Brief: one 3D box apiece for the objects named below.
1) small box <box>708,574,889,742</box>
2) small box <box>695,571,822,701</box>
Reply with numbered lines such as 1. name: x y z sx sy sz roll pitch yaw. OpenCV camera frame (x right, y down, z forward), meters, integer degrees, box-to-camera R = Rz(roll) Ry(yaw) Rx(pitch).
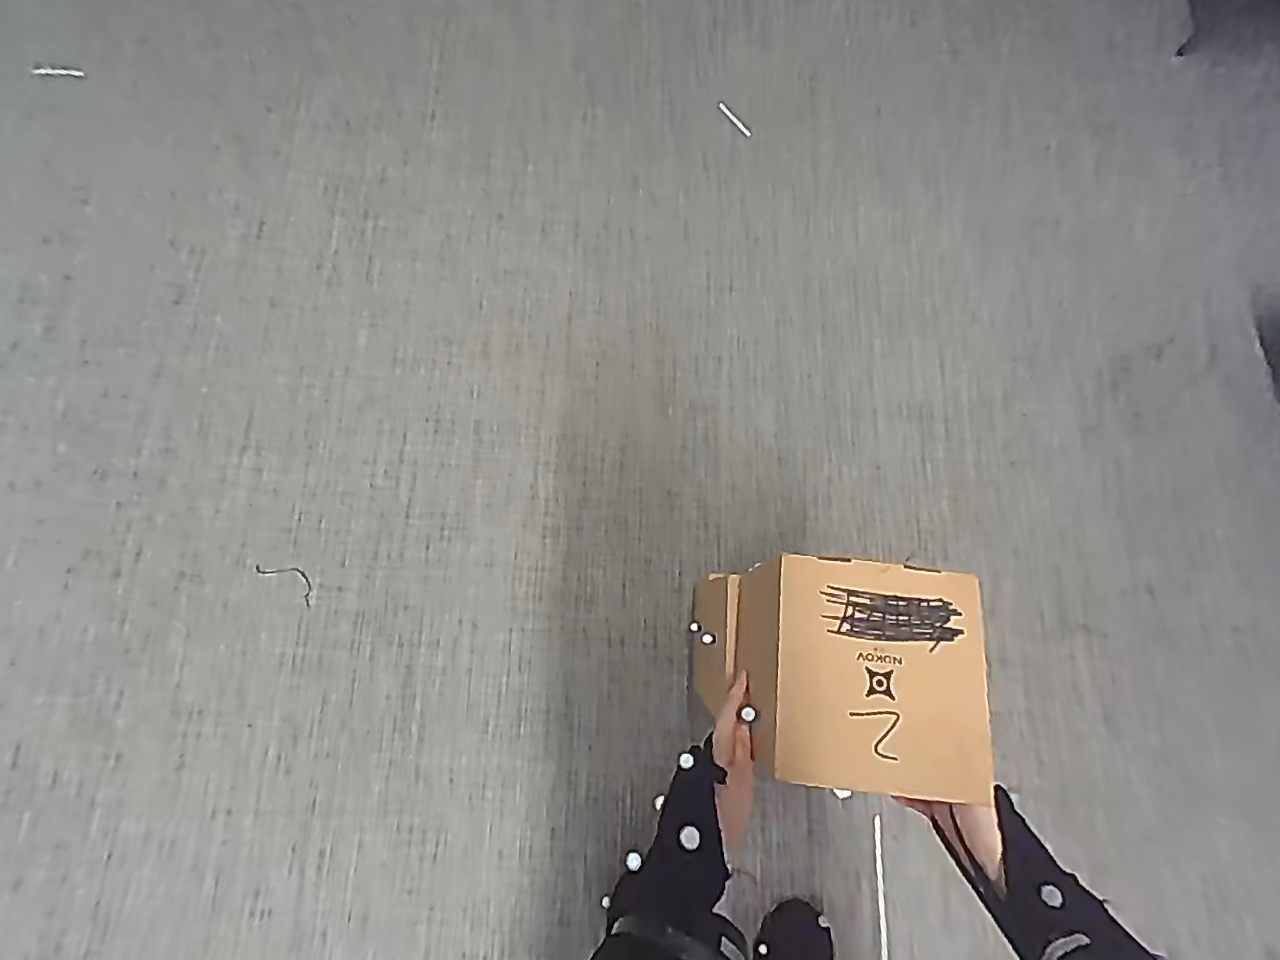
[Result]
1. small box: 0.180 0.207 0.663 0.179 0.176 0.168 4 78 0
2. small box: 0.176 0.235 0.825 0.168 0.176 0.179 3 77 0
